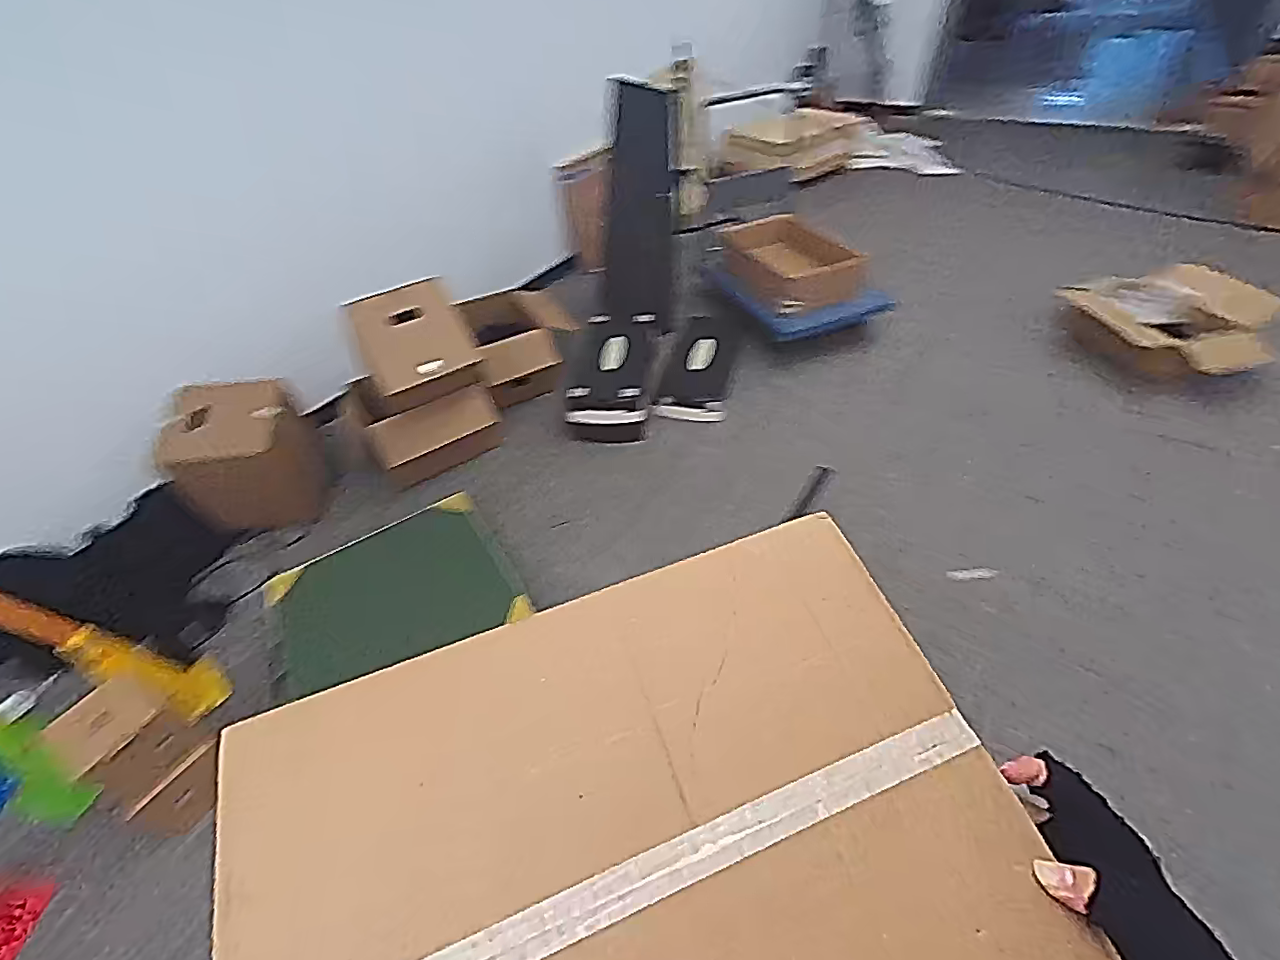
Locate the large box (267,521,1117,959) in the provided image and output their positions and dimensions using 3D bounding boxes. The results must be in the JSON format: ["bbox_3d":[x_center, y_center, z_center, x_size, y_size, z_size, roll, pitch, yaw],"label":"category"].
[{"bbox_3d":[0.012,0.289,0.412,0.408,0.320,0.320,-17,60,-9],"label":"large box"}]
